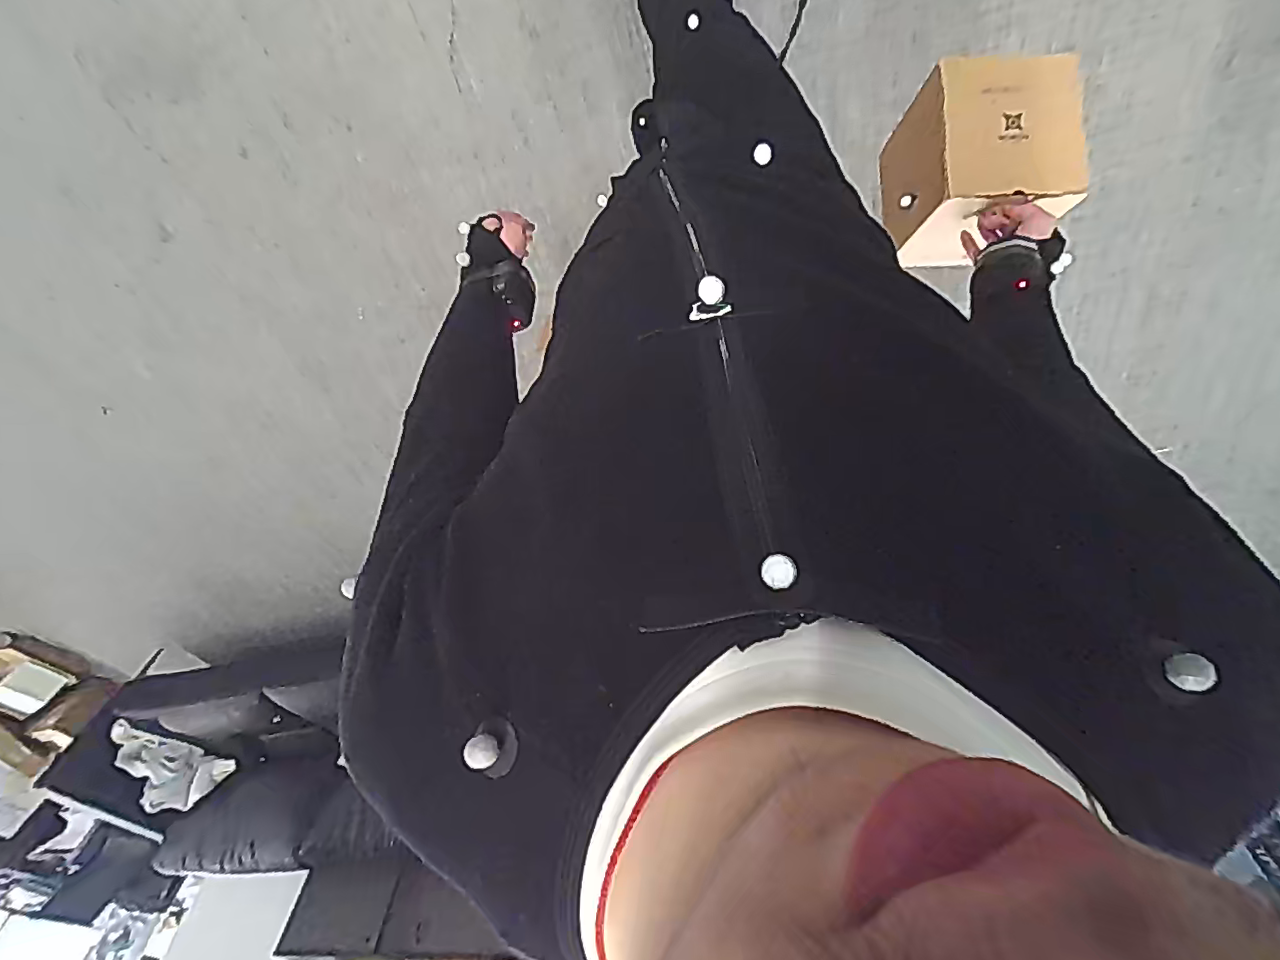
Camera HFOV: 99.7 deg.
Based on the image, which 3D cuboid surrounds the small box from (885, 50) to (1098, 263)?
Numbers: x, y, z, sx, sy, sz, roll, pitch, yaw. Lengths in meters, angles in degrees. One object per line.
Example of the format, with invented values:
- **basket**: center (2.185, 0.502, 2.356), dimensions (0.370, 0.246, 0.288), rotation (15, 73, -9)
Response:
- **small box**: center (0.435, -0.401, 0.698), dimensions (0.168, 0.179, 0.176), rotation (1, 172, -1)
